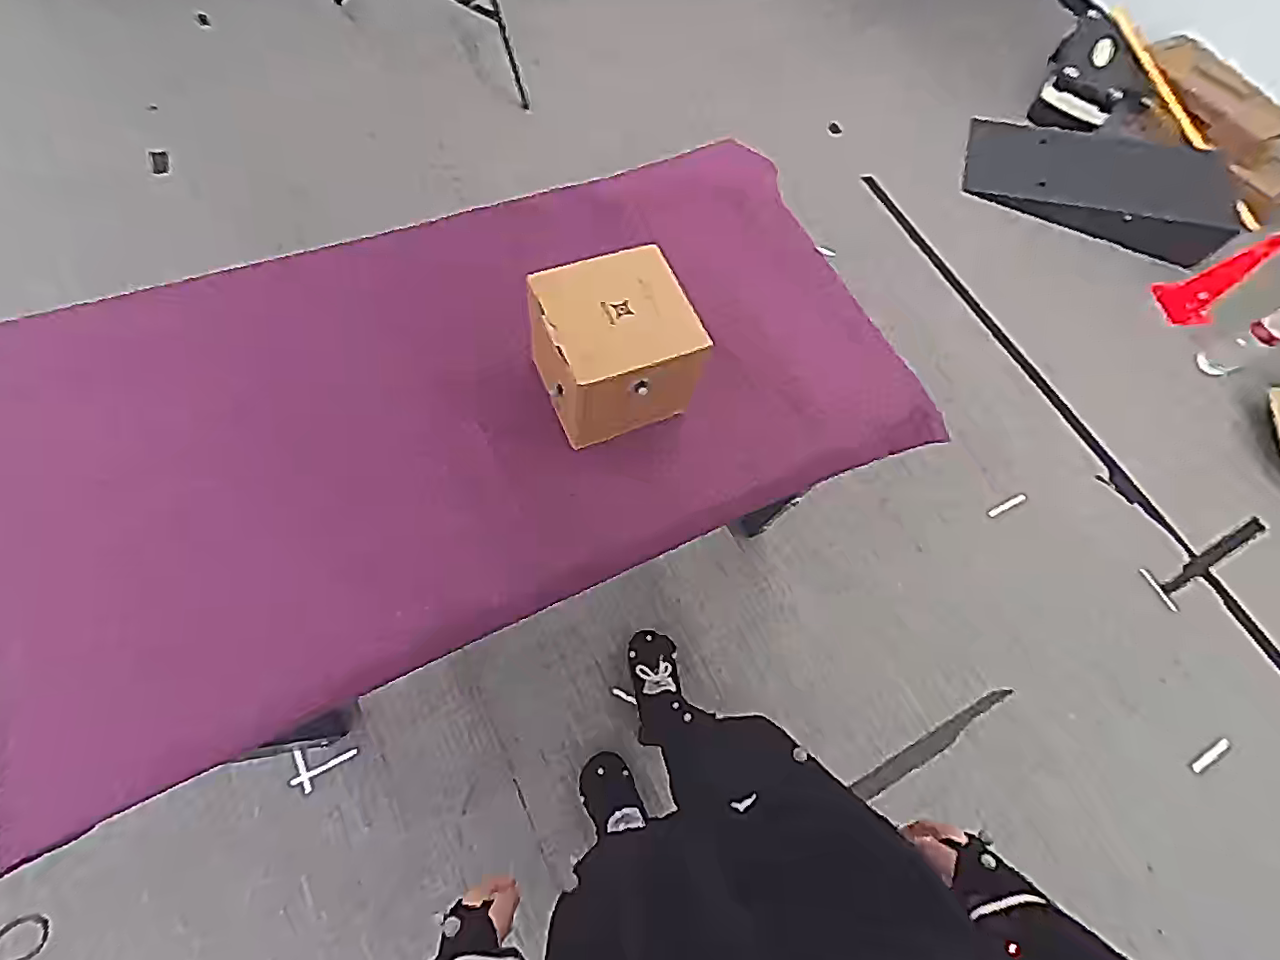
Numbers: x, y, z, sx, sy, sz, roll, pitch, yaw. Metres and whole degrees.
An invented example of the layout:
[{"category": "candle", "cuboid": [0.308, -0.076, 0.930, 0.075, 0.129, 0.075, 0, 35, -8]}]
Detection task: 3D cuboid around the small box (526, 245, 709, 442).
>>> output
[{"category": "small box", "cuboid": [-0.036, -0.172, 0.717, 0.179, 0.176, 0.168, -21, 73, -16]}]
